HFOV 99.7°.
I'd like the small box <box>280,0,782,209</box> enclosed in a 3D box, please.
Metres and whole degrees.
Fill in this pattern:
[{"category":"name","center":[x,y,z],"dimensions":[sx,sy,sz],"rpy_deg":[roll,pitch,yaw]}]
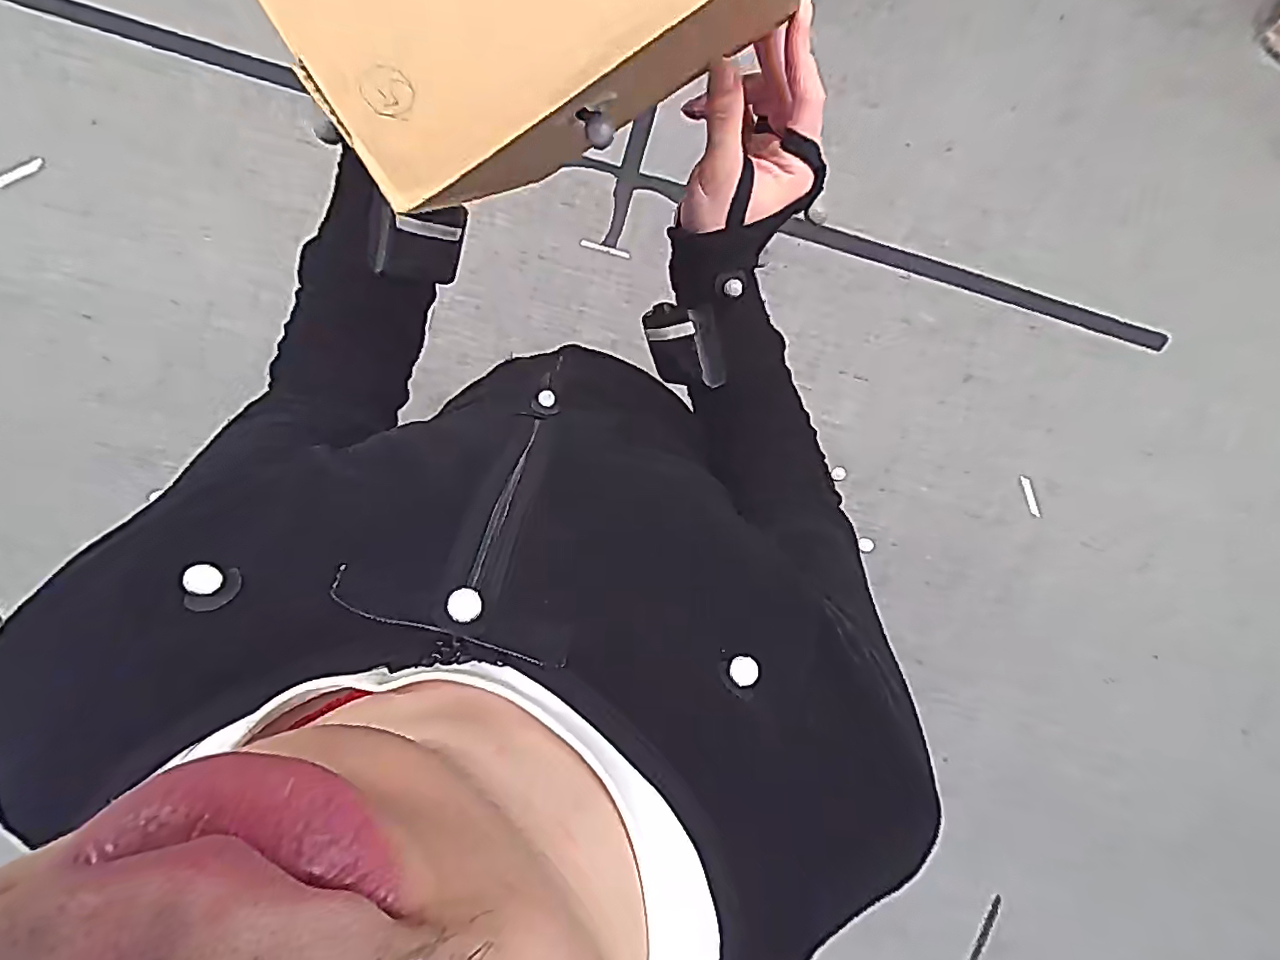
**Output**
[{"category":"small box","center":[-0.043,-0.246,0.231],"dimensions":[0.179,0.176,0.168],"rpy_deg":[-19,117,24]}]
